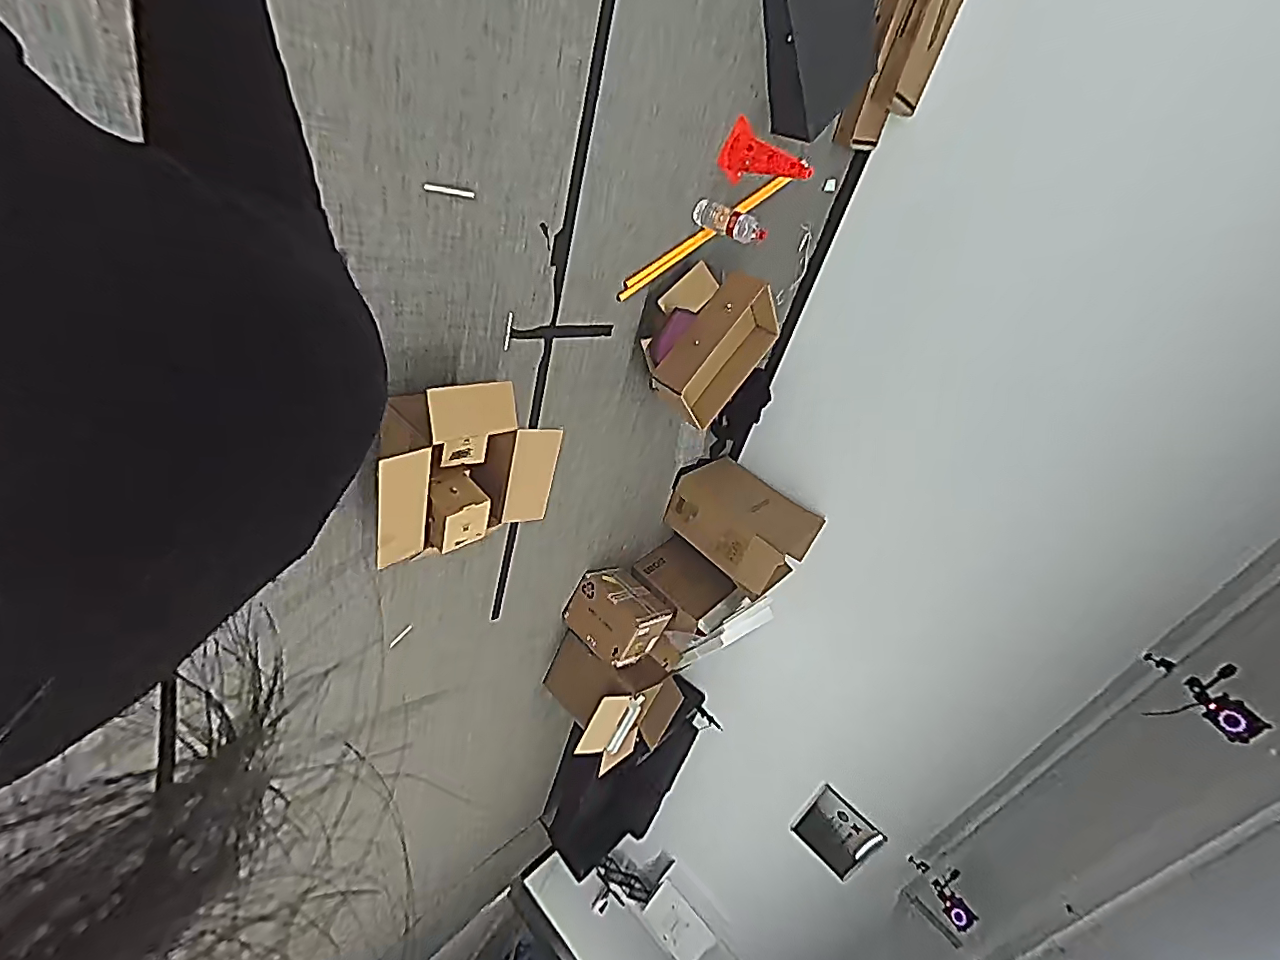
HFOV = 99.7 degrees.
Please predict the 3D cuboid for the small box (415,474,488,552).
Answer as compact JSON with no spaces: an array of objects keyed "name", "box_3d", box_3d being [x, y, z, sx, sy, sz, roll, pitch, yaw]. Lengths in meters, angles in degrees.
[{"name":"small box","box_3d":[-0.629,0.100,1.794,0.168,0.176,0.179,-24,144,-45]}]
